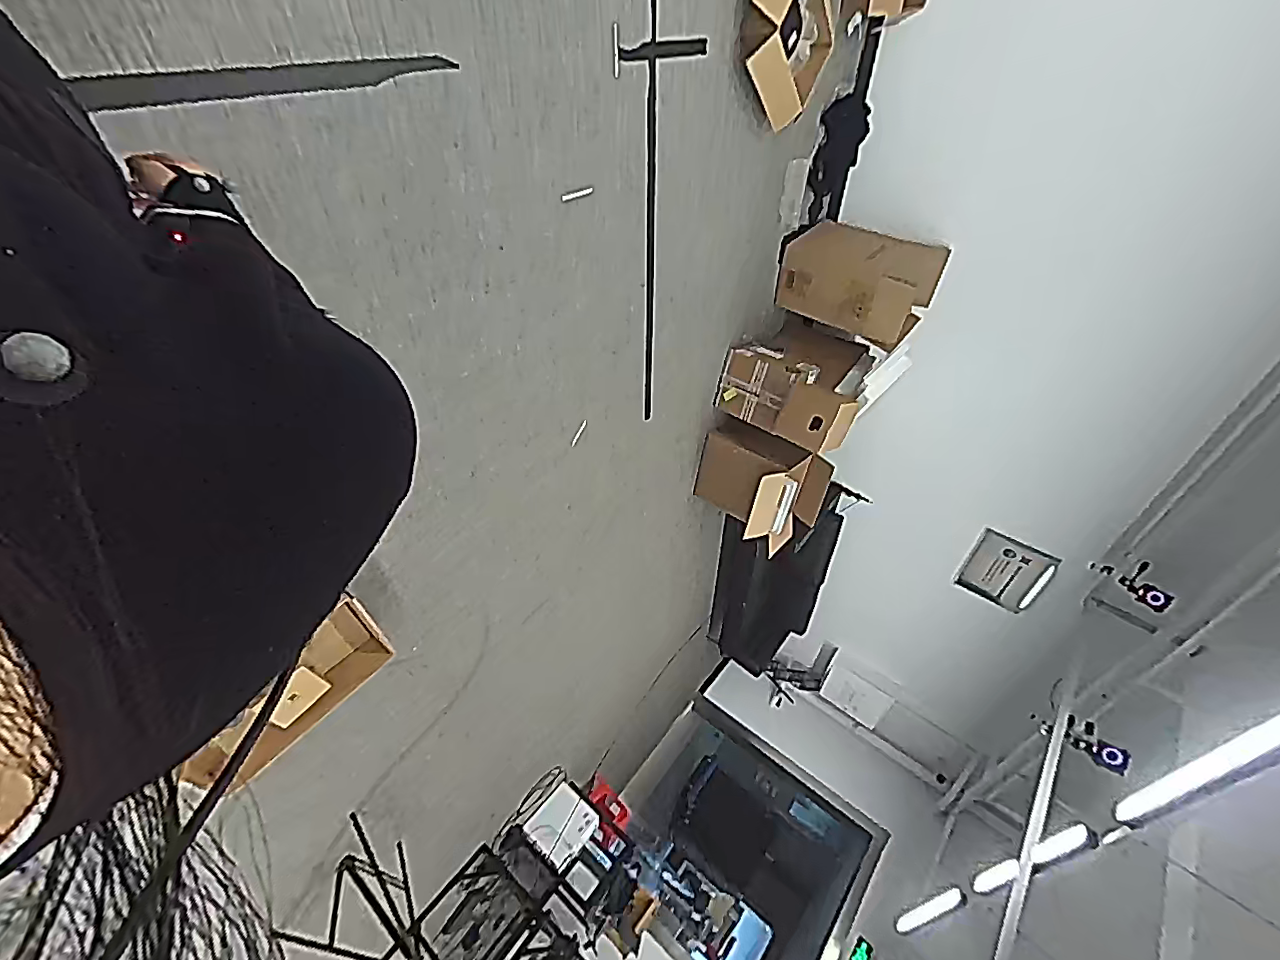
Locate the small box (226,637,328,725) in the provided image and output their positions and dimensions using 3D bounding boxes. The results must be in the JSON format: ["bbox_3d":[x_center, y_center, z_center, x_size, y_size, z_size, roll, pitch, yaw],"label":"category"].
[{"bbox_3d":[-1.124,0.619,1.679,0.168,0.176,0.179,-46,149,-28],"label":"small box"}]
